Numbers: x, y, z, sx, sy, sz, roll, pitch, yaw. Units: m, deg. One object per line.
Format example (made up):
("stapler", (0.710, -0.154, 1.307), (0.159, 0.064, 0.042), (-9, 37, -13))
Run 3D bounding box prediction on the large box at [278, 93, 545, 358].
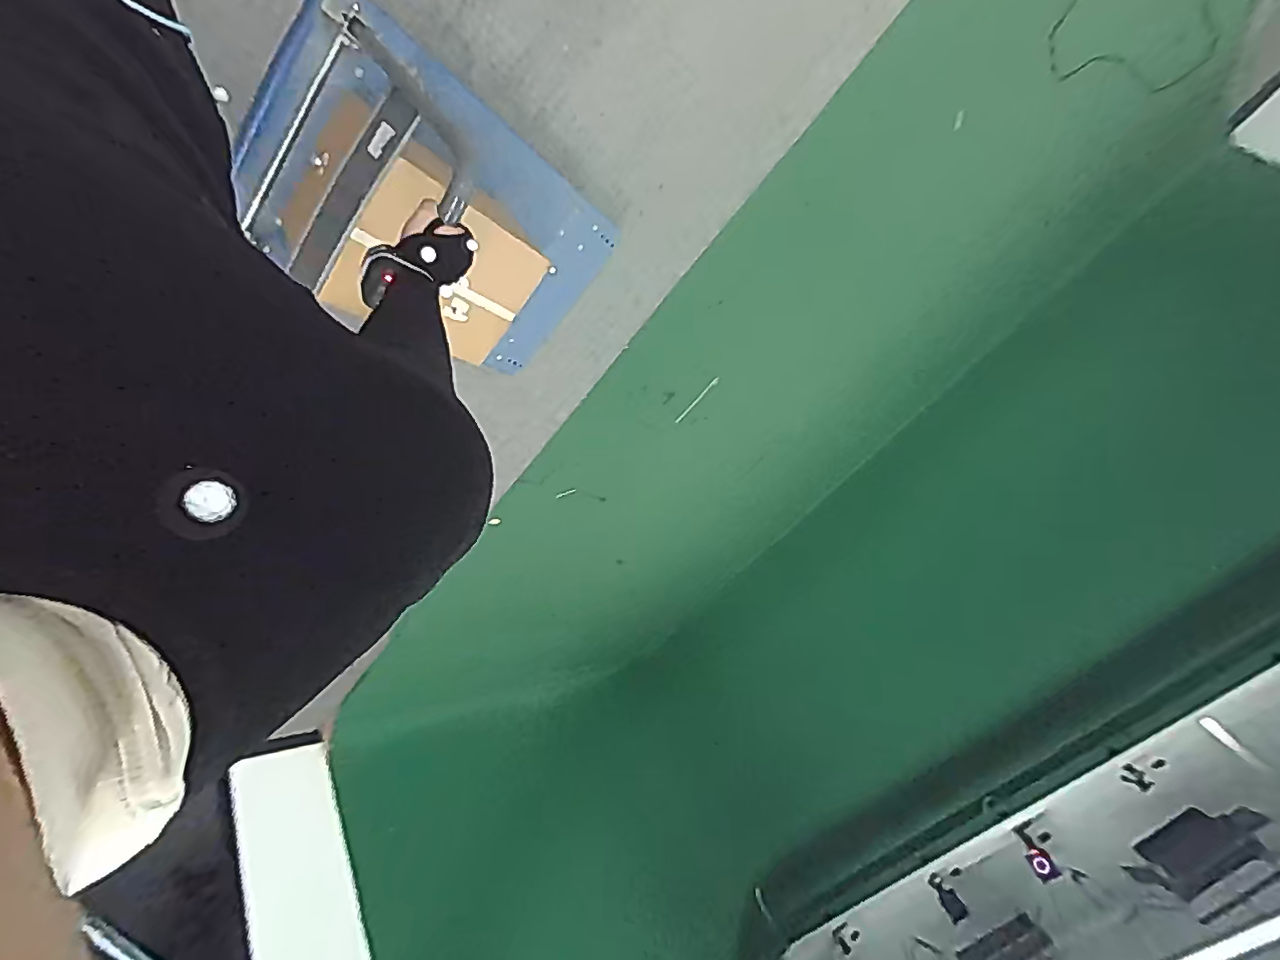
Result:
("large box", (-0.501, -0.538, 1.198), (0.320, 0.320, 0.408), (-47, 148, 19))
